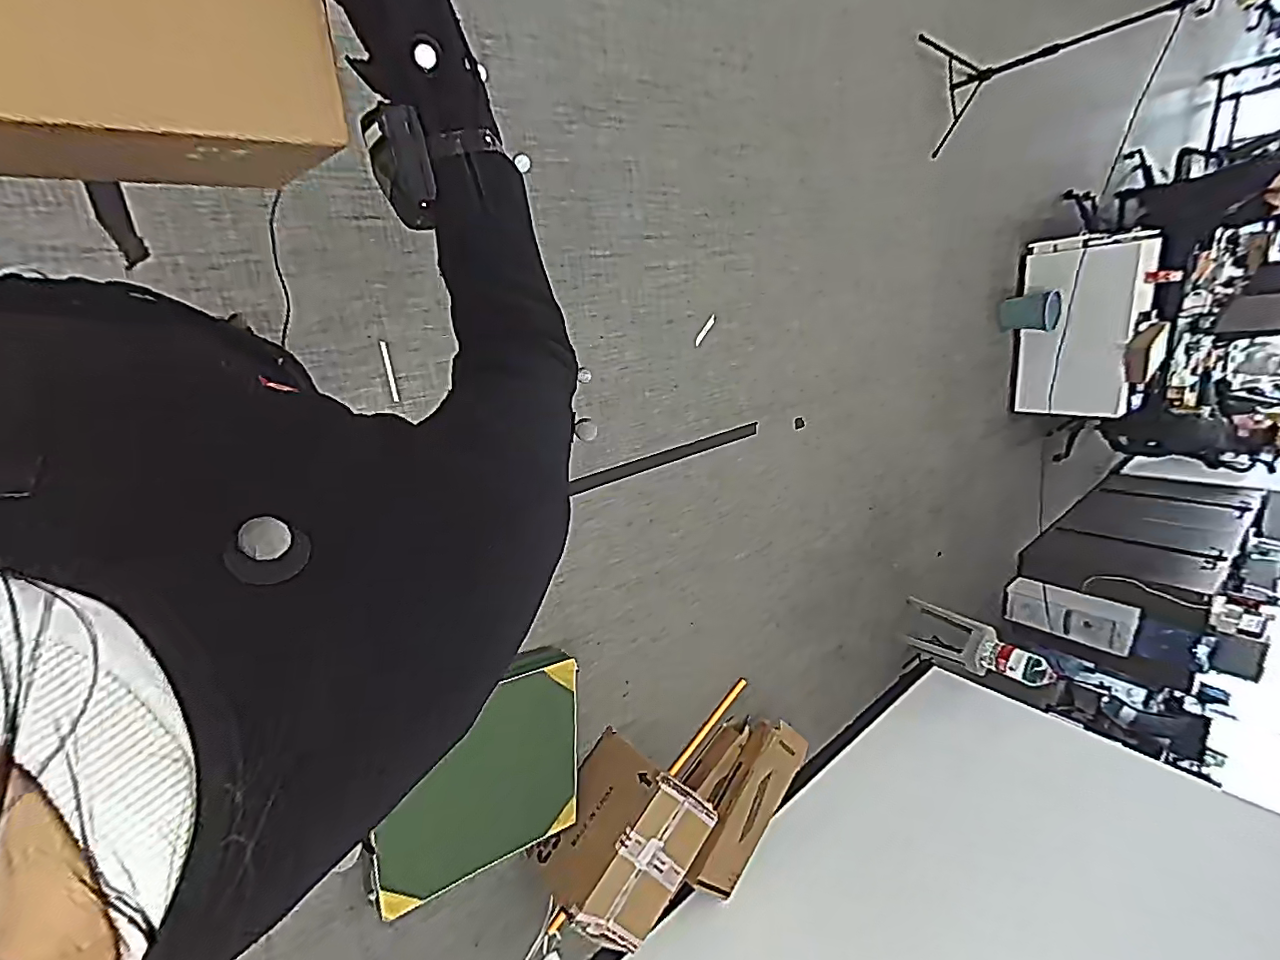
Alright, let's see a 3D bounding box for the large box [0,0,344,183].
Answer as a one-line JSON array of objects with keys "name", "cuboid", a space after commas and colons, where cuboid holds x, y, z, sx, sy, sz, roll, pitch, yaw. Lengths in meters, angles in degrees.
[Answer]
[{"name": "large box", "cuboid": [-0.452, -0.356, 0.299, 0.408, 0.320, 0.320, -20, 121, -35]}]
